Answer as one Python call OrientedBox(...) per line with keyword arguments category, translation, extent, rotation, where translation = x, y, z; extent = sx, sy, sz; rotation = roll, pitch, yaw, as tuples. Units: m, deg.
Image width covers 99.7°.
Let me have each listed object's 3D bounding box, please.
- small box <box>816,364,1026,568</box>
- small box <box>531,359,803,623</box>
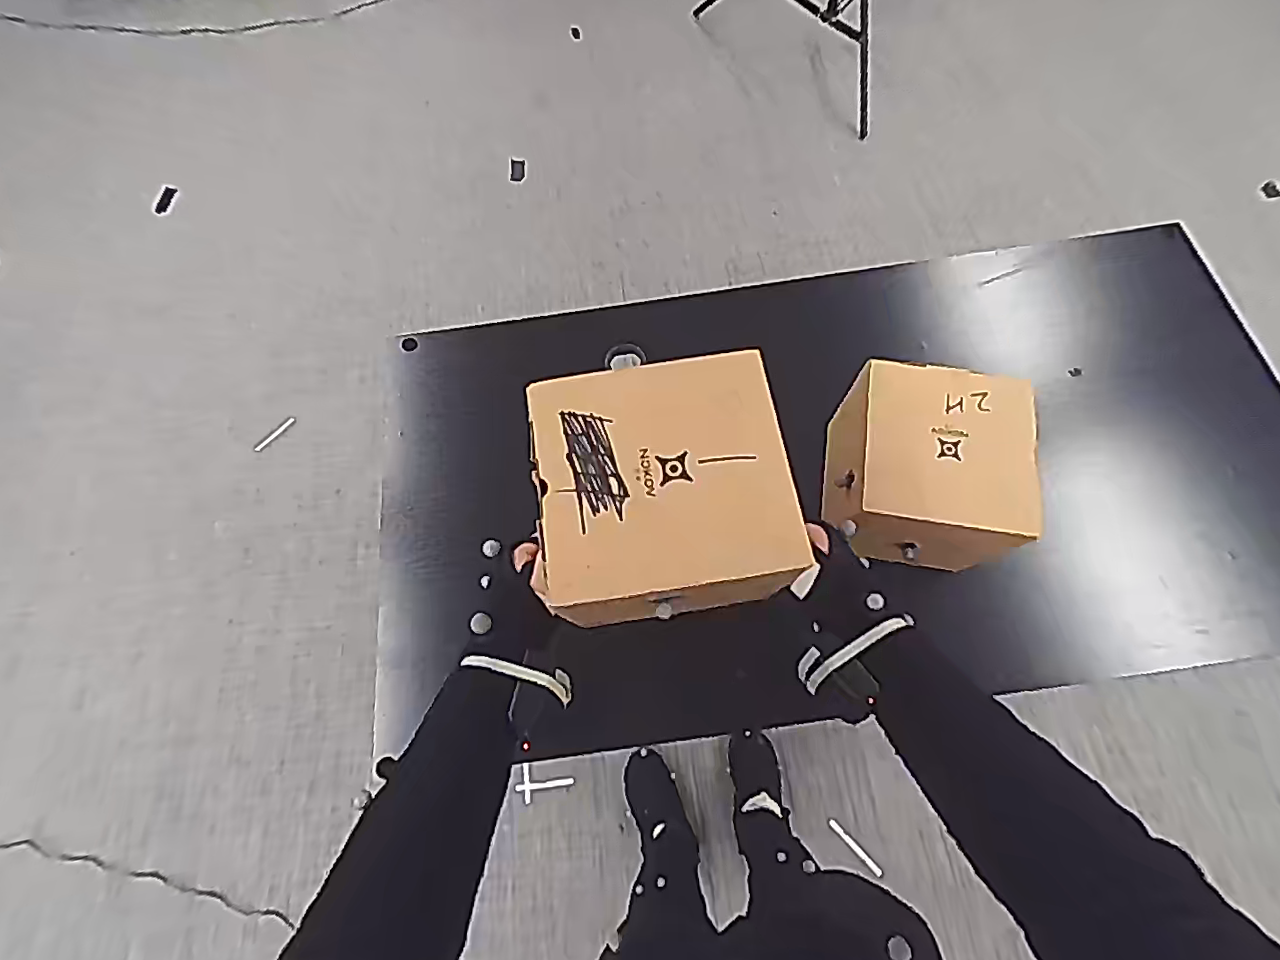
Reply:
OrientedBox(category="small box", translation=(0.311, -0.006, 0.628), extent=(0.168, 0.176, 0.179), rotation=(10, 70, 6))
OrientedBox(category="small box", translation=(0.016, 0.022, 0.459), extent=(0.179, 0.176, 0.168), rotation=(-8, 71, -1))
